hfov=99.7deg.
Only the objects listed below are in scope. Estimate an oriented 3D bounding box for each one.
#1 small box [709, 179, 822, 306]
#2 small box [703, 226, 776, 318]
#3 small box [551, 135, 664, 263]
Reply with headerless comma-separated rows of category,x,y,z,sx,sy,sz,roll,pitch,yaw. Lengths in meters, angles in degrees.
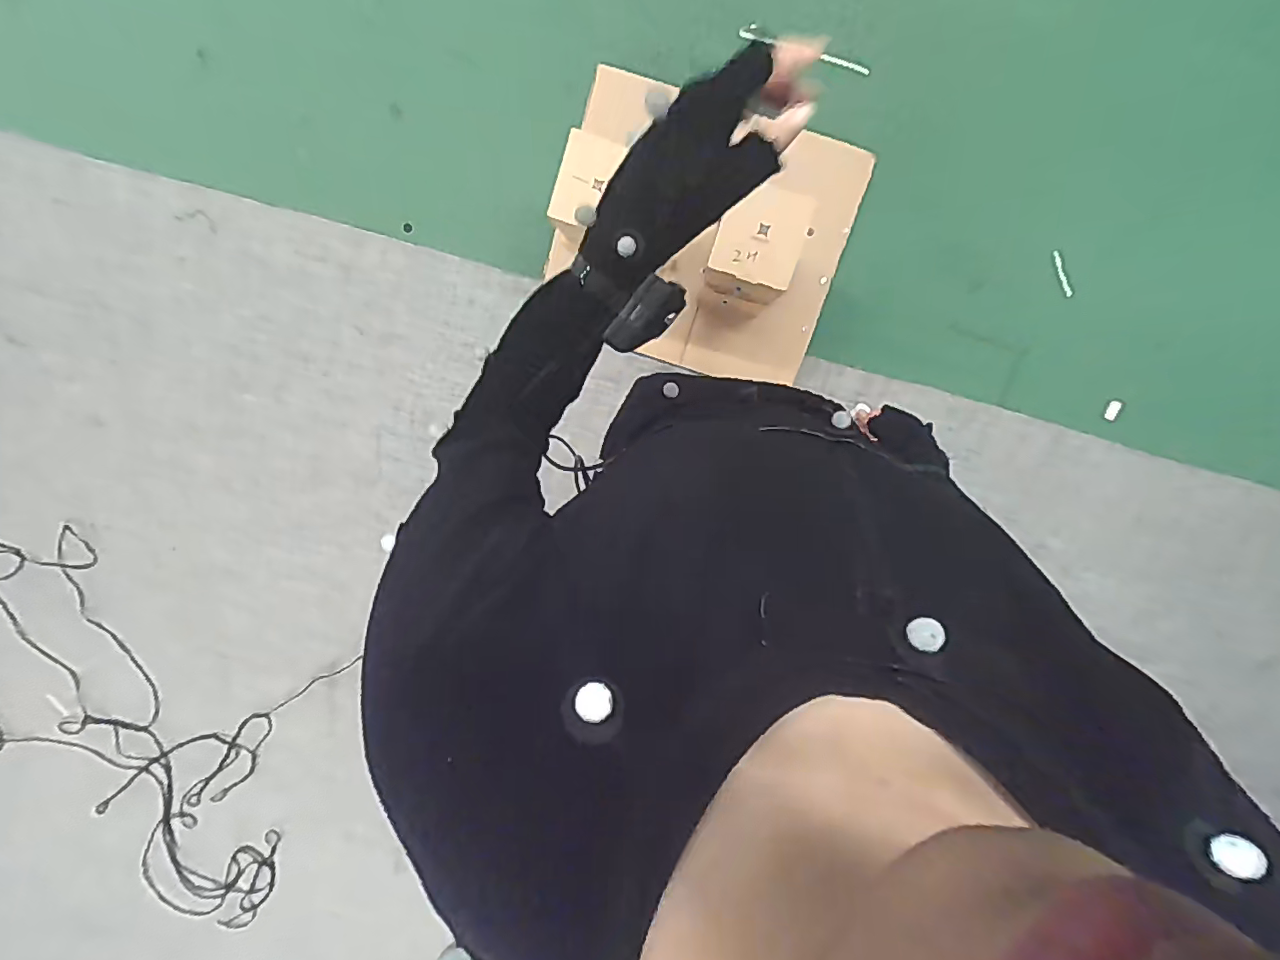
small box,0.243,-0.474,1.105,0.168,0.176,0.179,18,102,1
small box,0.249,-0.494,1.270,0.168,0.176,0.179,16,102,1
small box,-0.058,-0.559,1.105,0.179,0.176,0.168,21,102,2
